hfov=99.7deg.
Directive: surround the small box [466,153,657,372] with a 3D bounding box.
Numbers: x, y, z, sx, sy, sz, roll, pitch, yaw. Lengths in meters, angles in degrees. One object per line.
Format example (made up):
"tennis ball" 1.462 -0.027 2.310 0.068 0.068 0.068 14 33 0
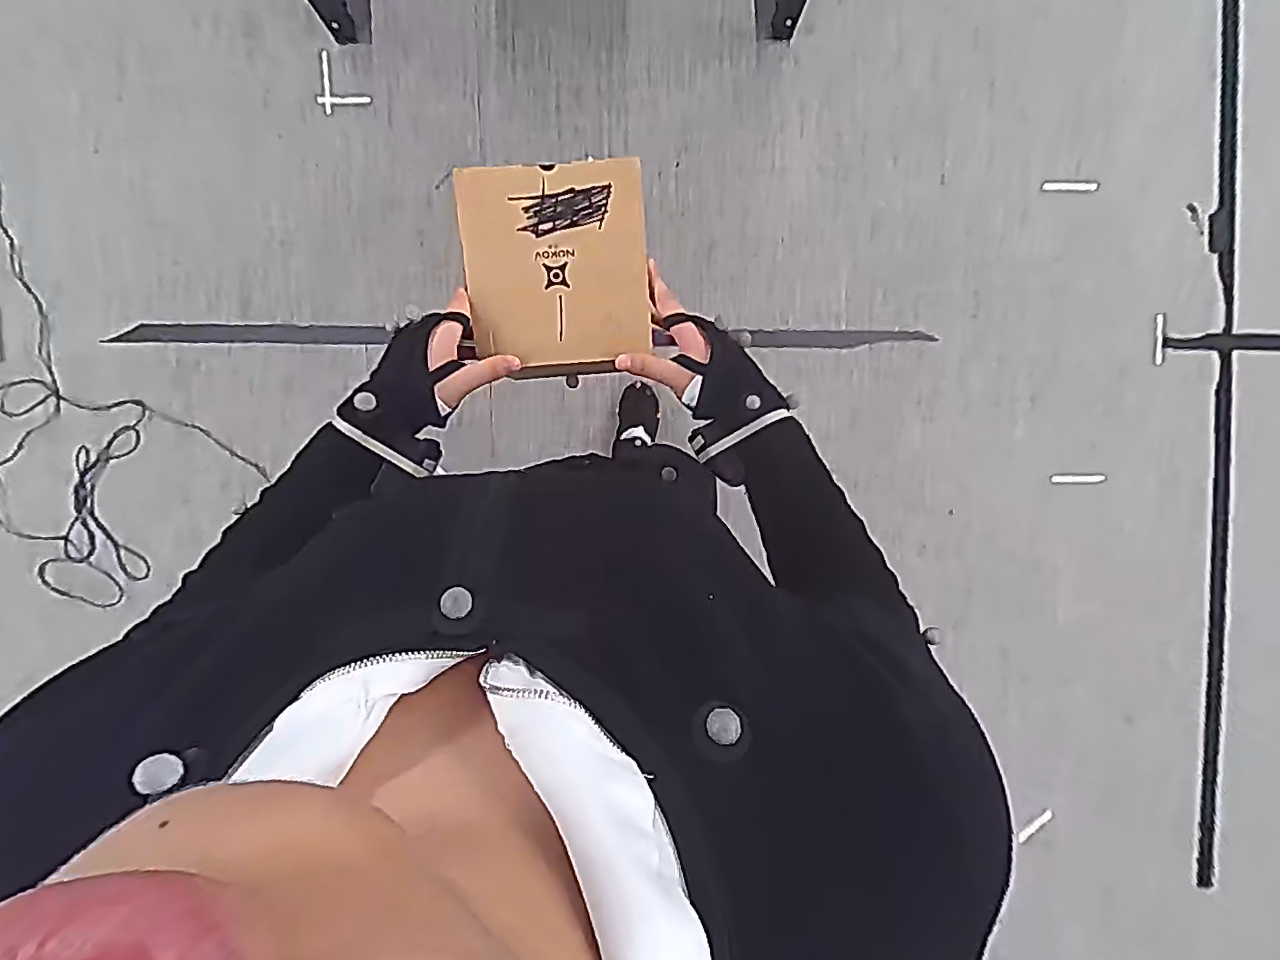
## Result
"small box" -0.073 -0.213 0.571 0.168 0.176 0.179 -4 98 -1
